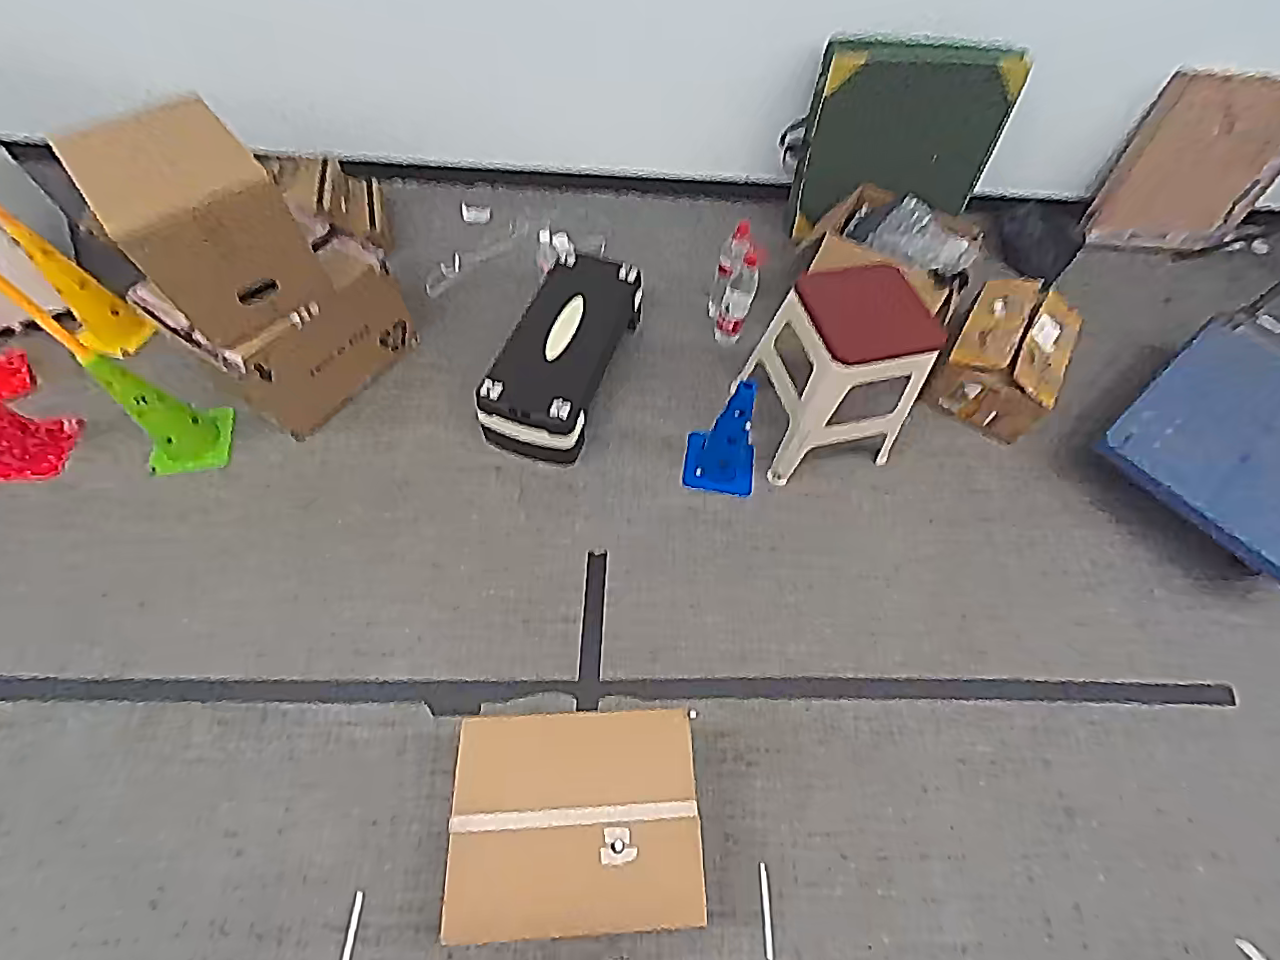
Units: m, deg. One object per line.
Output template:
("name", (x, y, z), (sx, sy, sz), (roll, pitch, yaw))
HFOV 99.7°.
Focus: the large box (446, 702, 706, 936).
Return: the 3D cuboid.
("large box", (-0.115, 0.614, 1.022), (0.408, 0.320, 0.320), (0, 61, -5))
